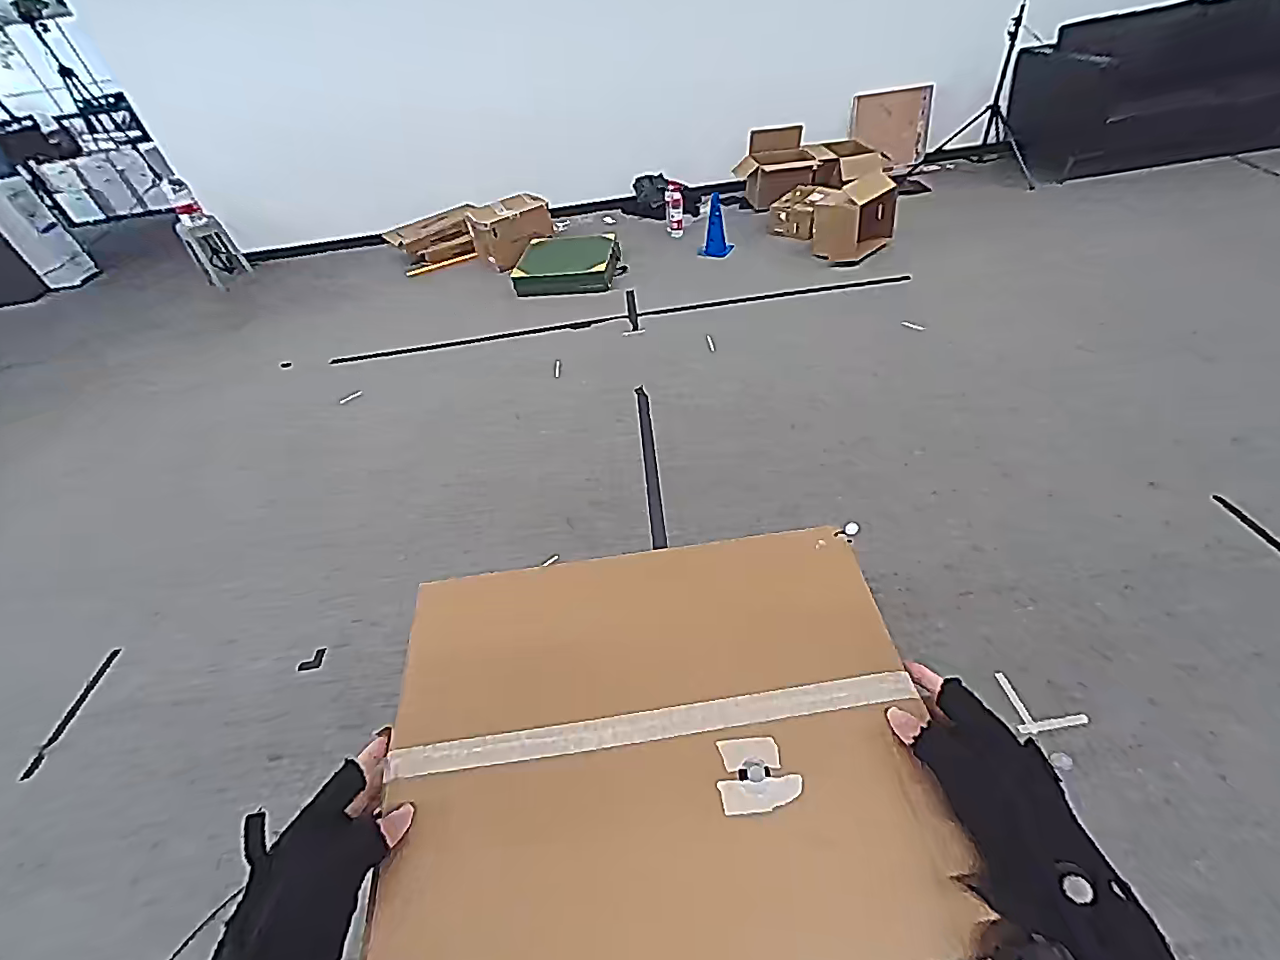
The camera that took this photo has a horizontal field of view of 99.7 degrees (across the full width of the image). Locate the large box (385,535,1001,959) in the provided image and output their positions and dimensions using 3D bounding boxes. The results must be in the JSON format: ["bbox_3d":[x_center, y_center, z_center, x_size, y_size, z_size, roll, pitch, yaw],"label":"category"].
[{"bbox_3d":[0.025,0.293,0.542,0.408,0.320,0.320,-8,50,-1],"label":"large box"}]
